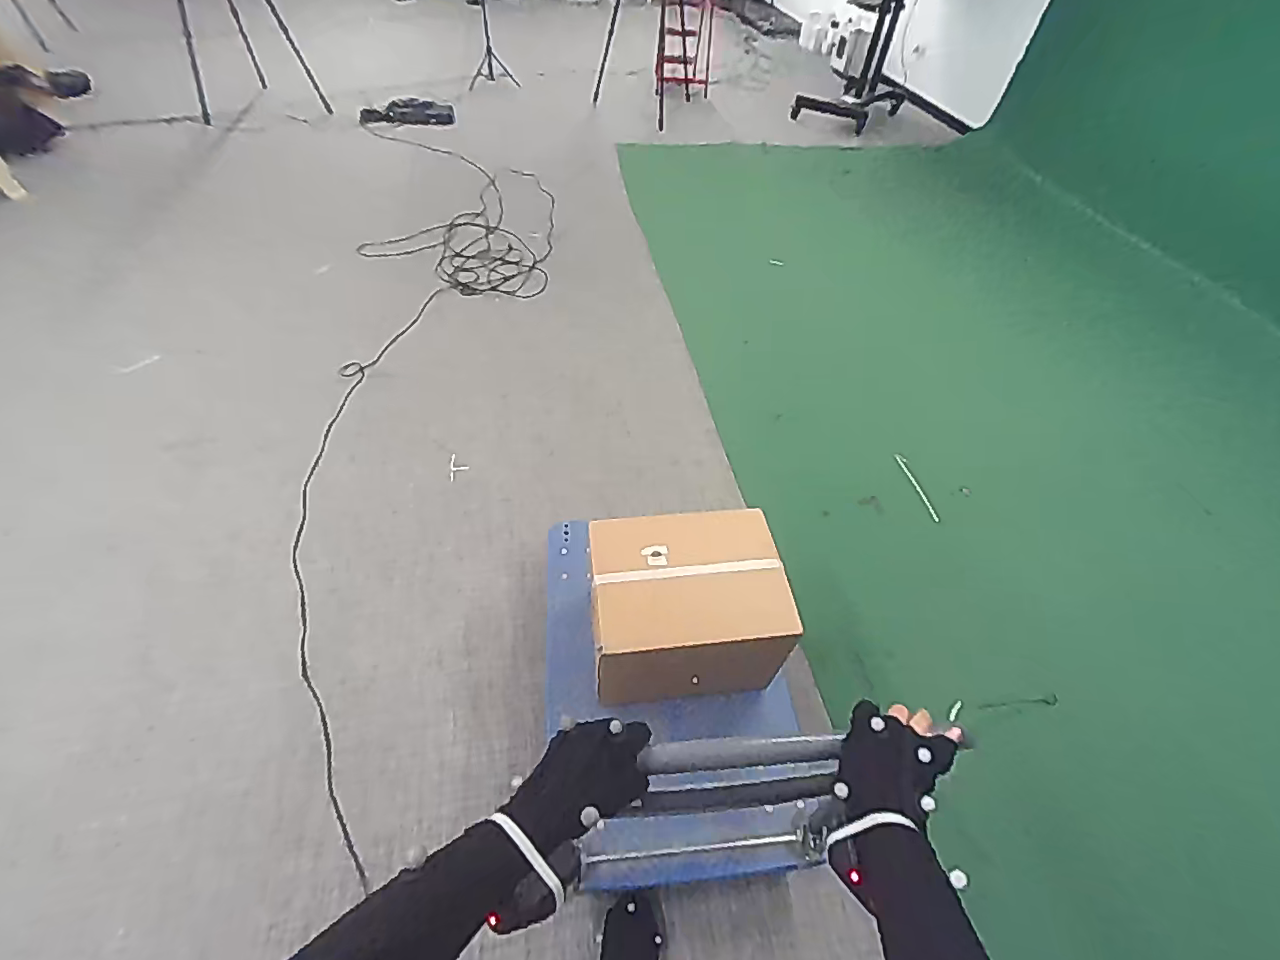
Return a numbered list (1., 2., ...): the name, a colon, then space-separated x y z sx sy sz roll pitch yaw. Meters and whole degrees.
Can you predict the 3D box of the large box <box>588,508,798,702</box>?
1. large box: 0.096 0.294 1.264 0.408 0.320 0.320 -5 50 -7
